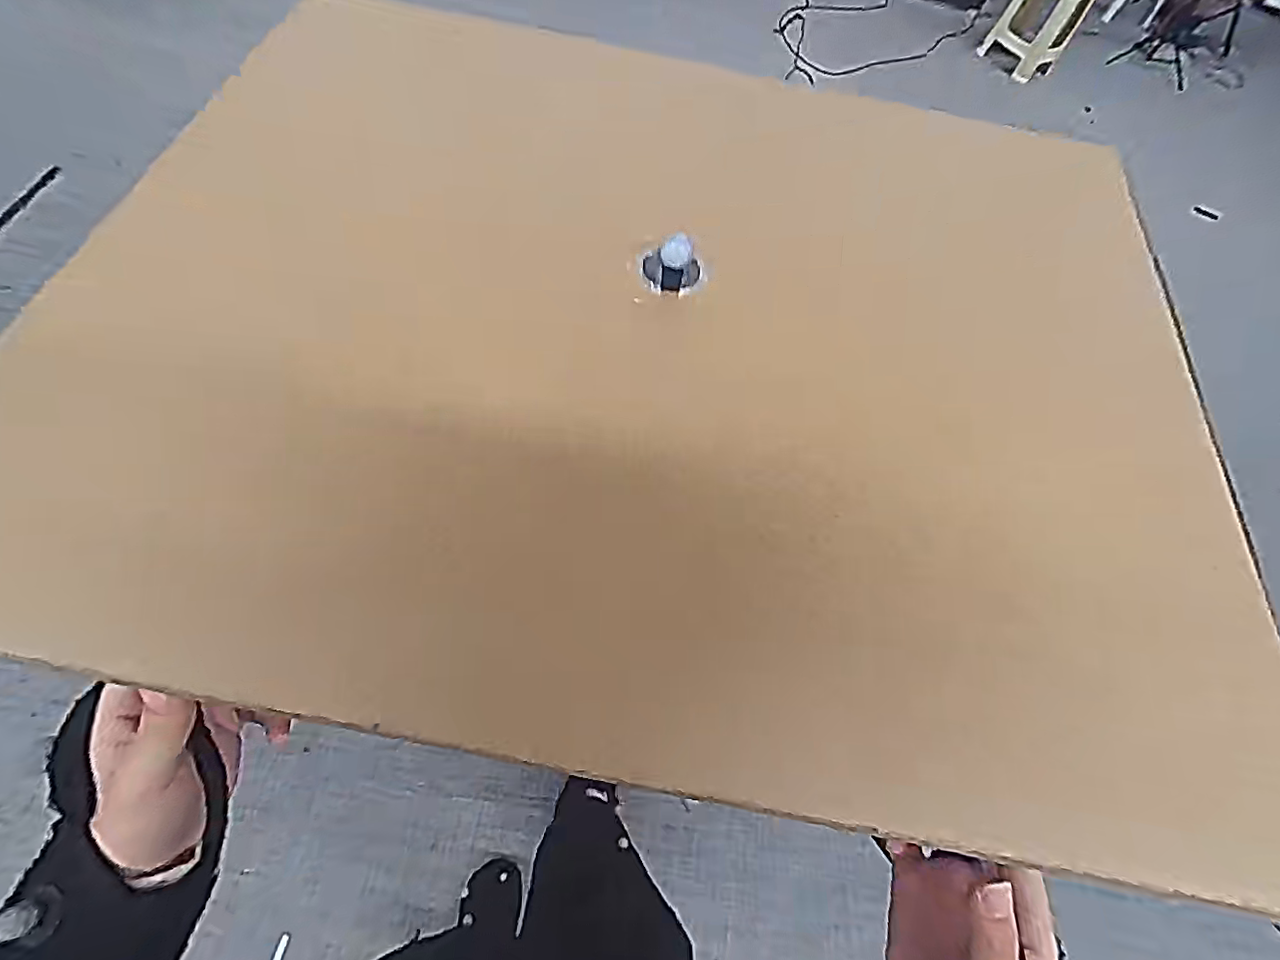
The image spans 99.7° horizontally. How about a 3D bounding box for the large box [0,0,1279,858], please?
[{"bbox_3d":[-0.002,-0.015,0.334,0.408,0.320,0.320,11,66,1],"label":"large box"}]
